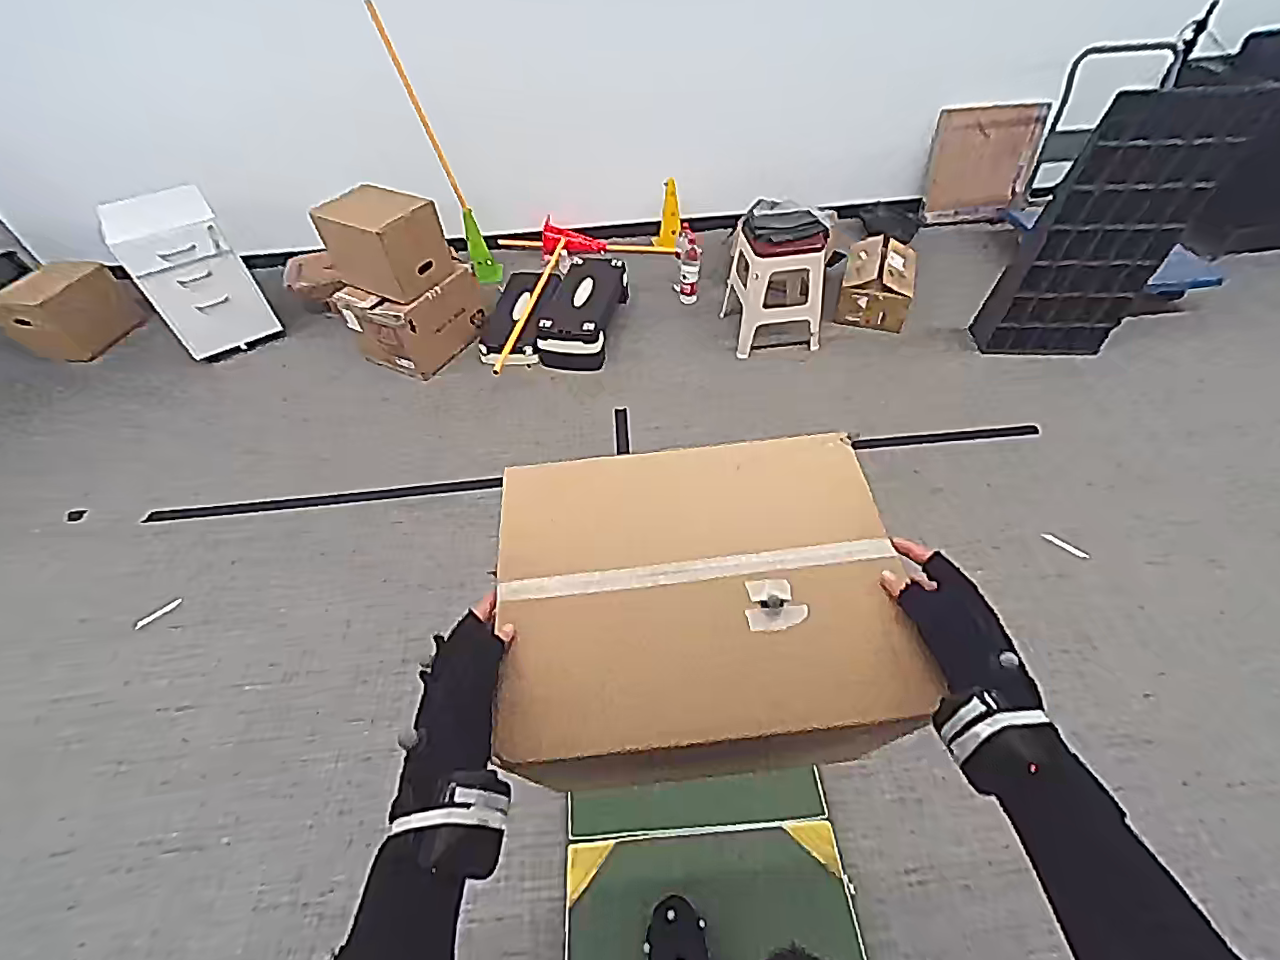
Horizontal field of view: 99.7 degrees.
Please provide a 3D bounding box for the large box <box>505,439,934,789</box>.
[{"bbox_3d":[0.062,0.181,0.691,0.408,0.320,0.320,-6,56,-2],"label":"large box"}]
